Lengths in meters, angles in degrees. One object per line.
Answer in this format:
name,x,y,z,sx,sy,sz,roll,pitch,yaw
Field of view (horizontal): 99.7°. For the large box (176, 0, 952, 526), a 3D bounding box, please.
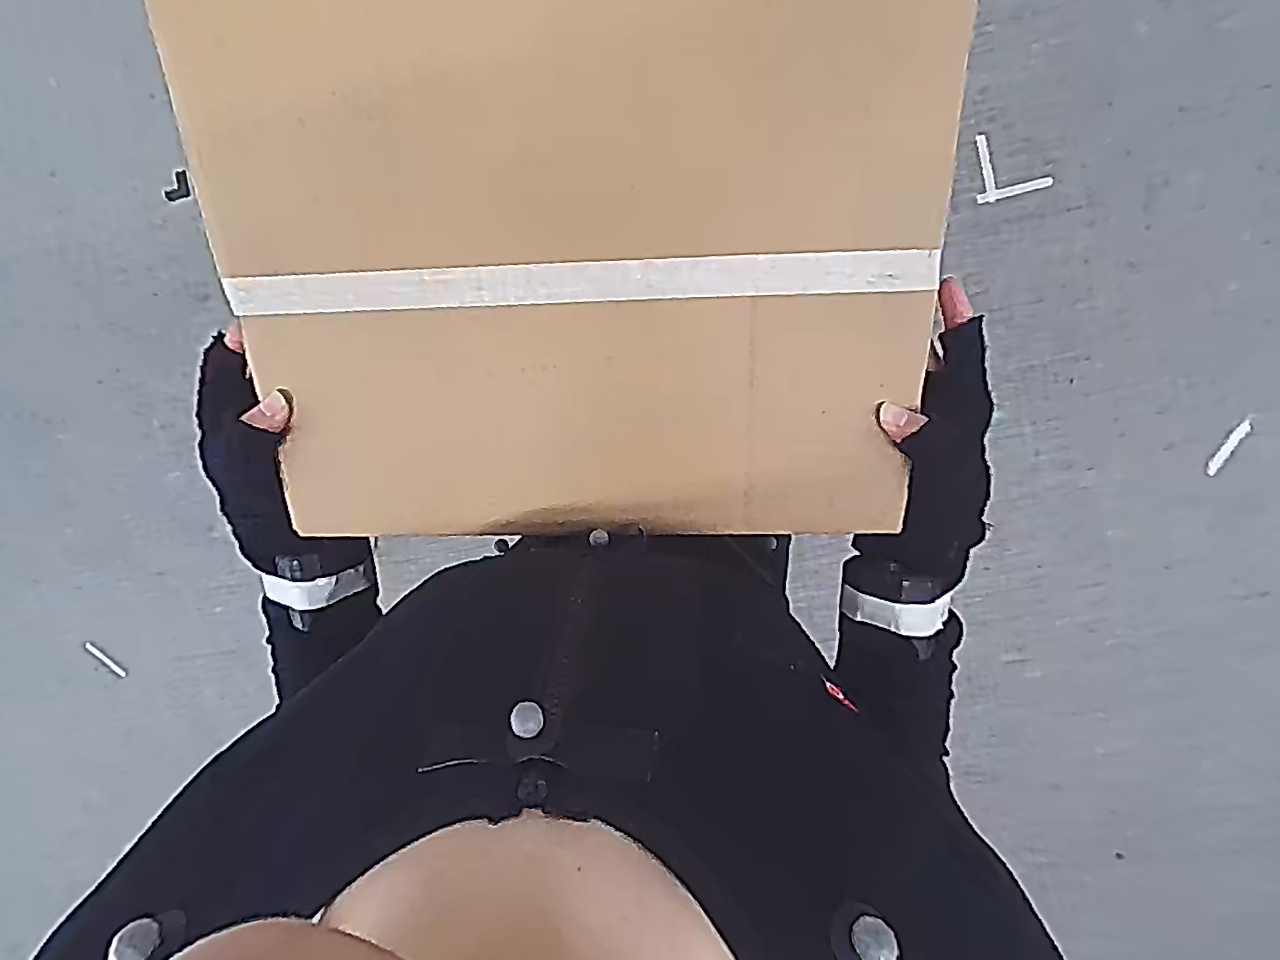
large box,-0.034,-0.167,0.457,0.408,0.320,0.320,-1,111,3
